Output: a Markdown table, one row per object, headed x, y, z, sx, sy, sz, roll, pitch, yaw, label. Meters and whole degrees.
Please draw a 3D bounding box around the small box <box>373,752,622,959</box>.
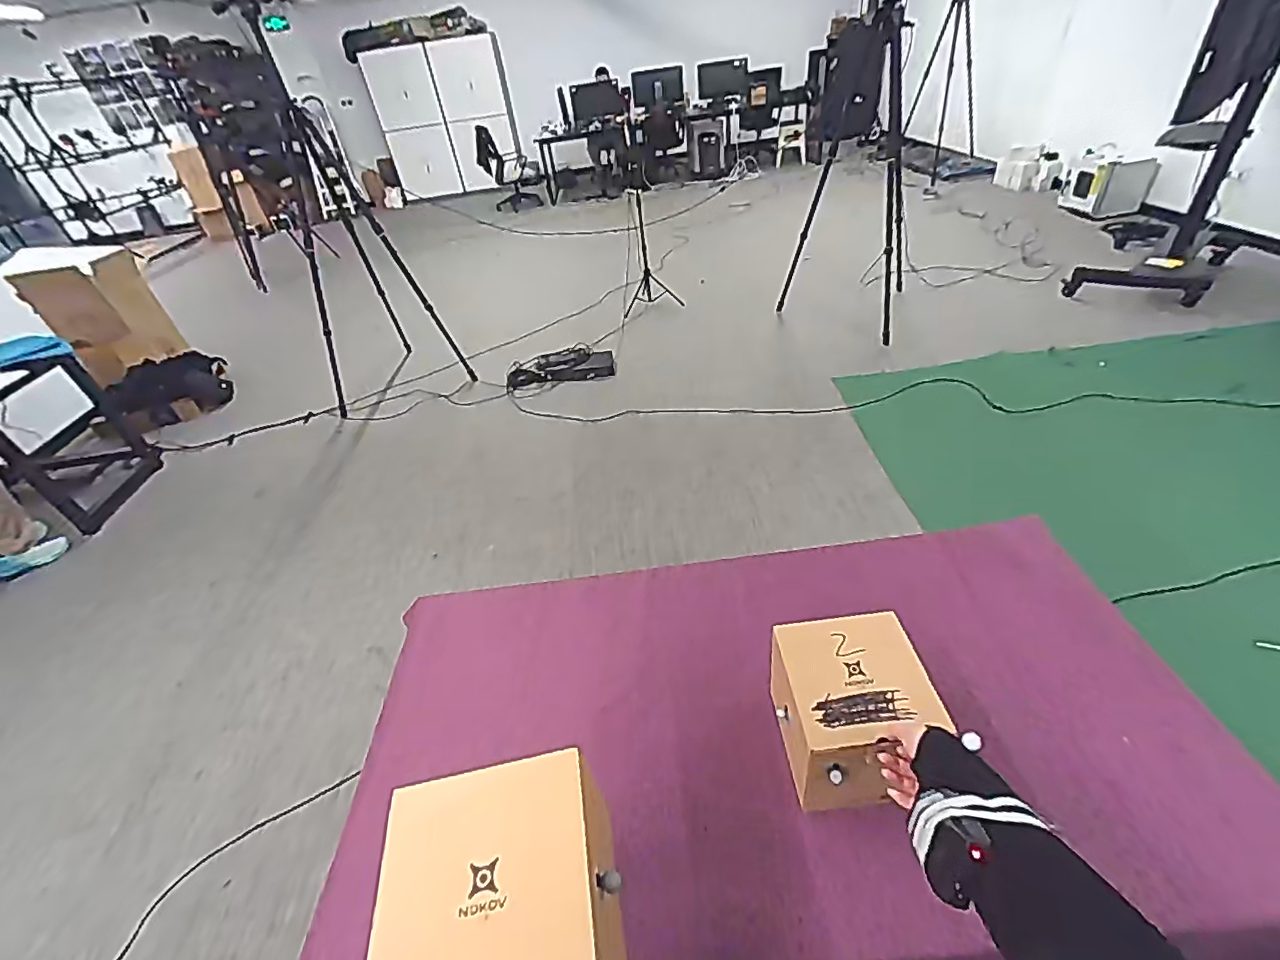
| x | y | z | sx | sy | sz | roll | pitch | yaw | label |
| --- | --- | --- | --- | --- | --- | --- | --- | --- | --- |
| -0.112 | 0.377 | 0.478 | 0.168 | 0.176 | 0.179 | -12 | 42 | -3 | small box |
